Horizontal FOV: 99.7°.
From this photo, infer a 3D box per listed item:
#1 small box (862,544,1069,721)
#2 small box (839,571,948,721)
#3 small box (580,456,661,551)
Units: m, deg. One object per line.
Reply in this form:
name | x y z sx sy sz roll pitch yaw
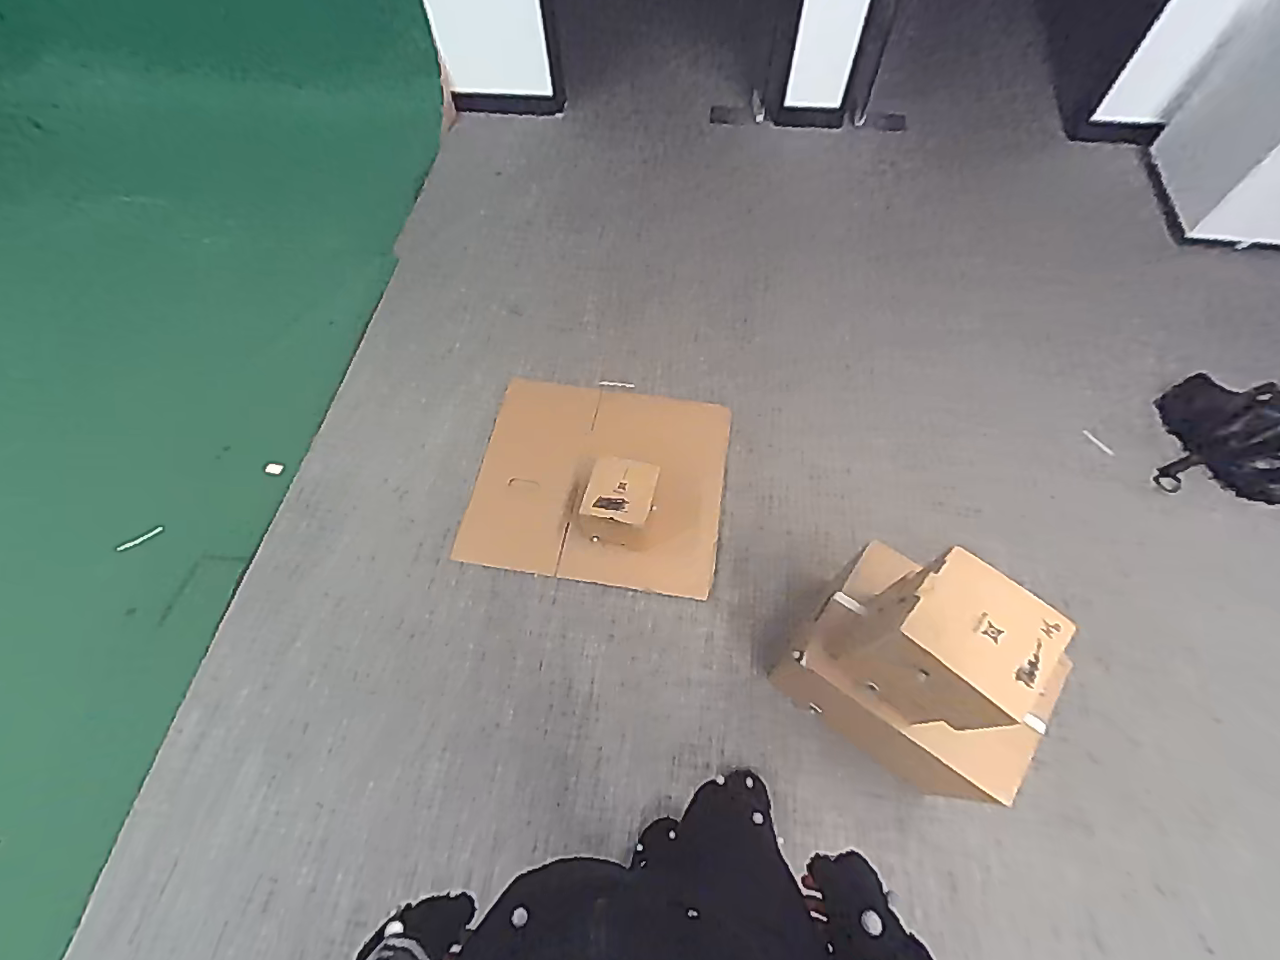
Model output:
small box | 0.461 0.231 0.794 0.179 0.176 0.168 36 68 19
small box | 0.475 0.293 0.943 0.168 0.176 0.179 35 71 19
small box | -0.042 0.066 1.406 0.168 0.176 0.179 12 62 9
